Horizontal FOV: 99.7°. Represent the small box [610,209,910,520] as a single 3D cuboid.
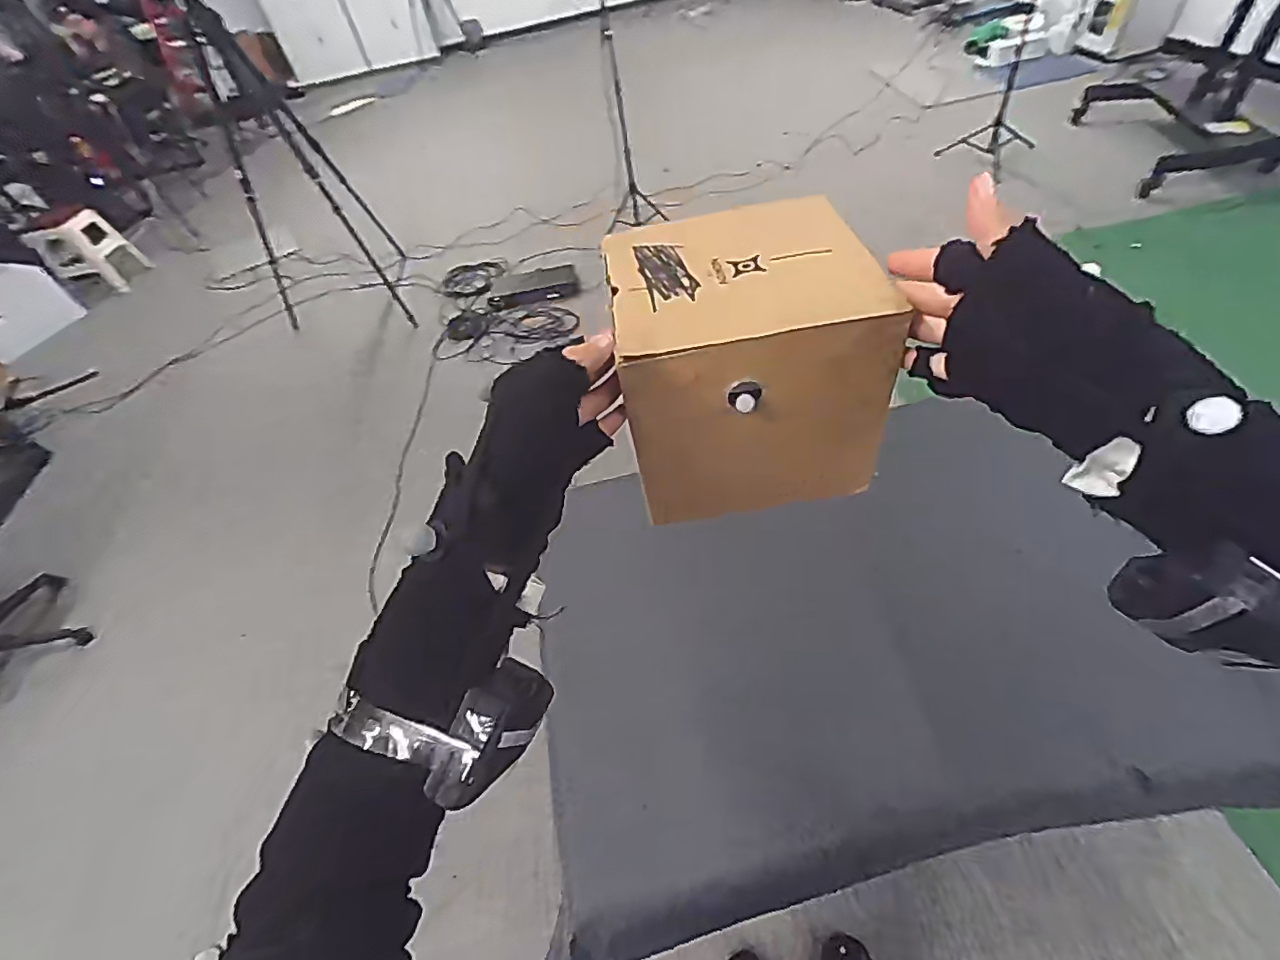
[{"bbox_3d":[0.079,-0.085,0.431,0.179,0.176,0.168,-9,49,2],"label":"small box"}]
